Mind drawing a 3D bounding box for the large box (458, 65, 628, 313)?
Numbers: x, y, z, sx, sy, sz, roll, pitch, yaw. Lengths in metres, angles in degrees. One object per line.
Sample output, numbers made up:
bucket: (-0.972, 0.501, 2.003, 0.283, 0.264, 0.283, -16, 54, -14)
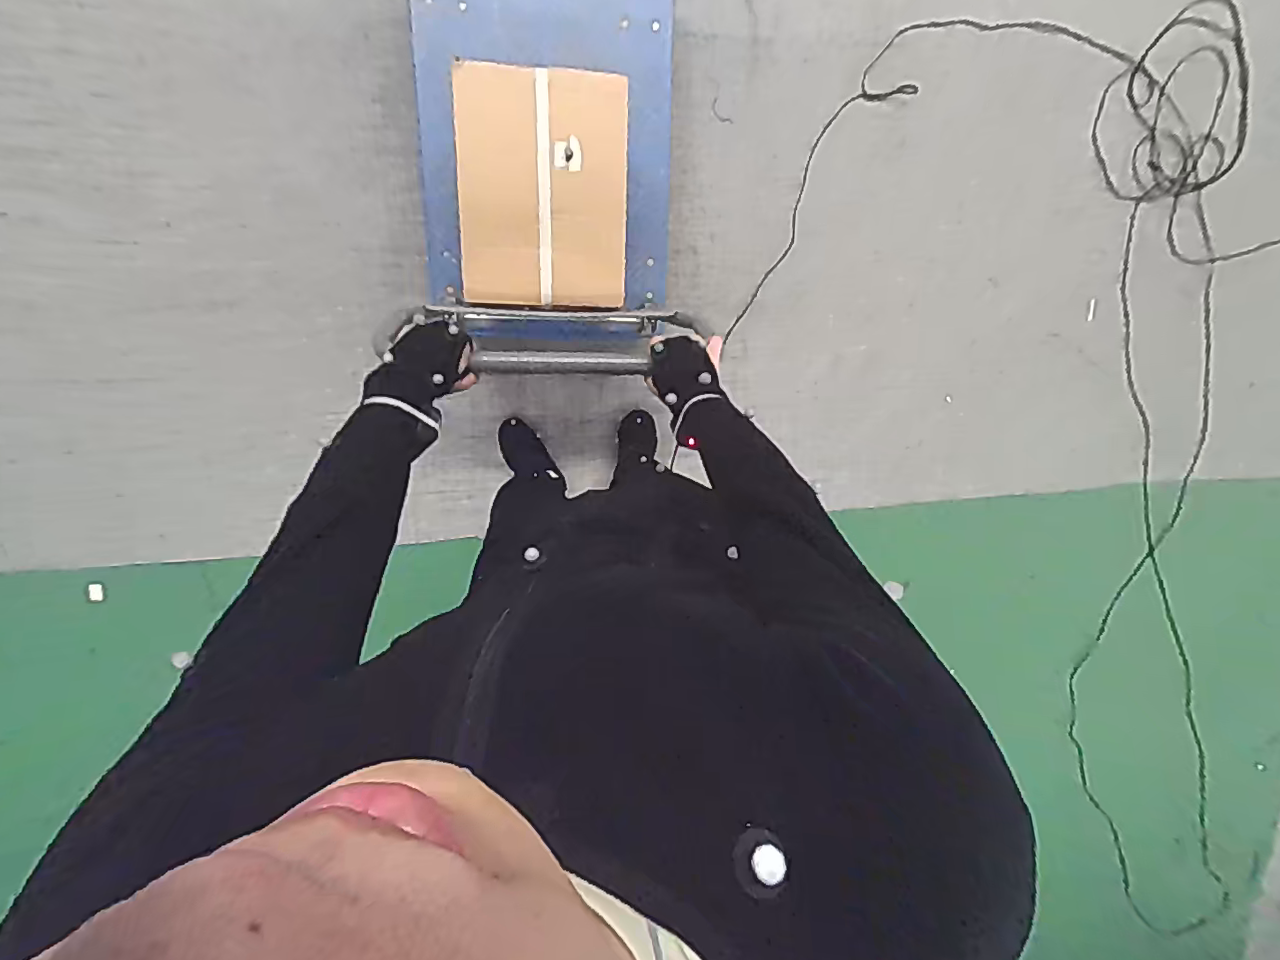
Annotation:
large box: (-0.198, -0.581, 1.170, 0.320, 0.320, 0.408, 0, 104, -9)
